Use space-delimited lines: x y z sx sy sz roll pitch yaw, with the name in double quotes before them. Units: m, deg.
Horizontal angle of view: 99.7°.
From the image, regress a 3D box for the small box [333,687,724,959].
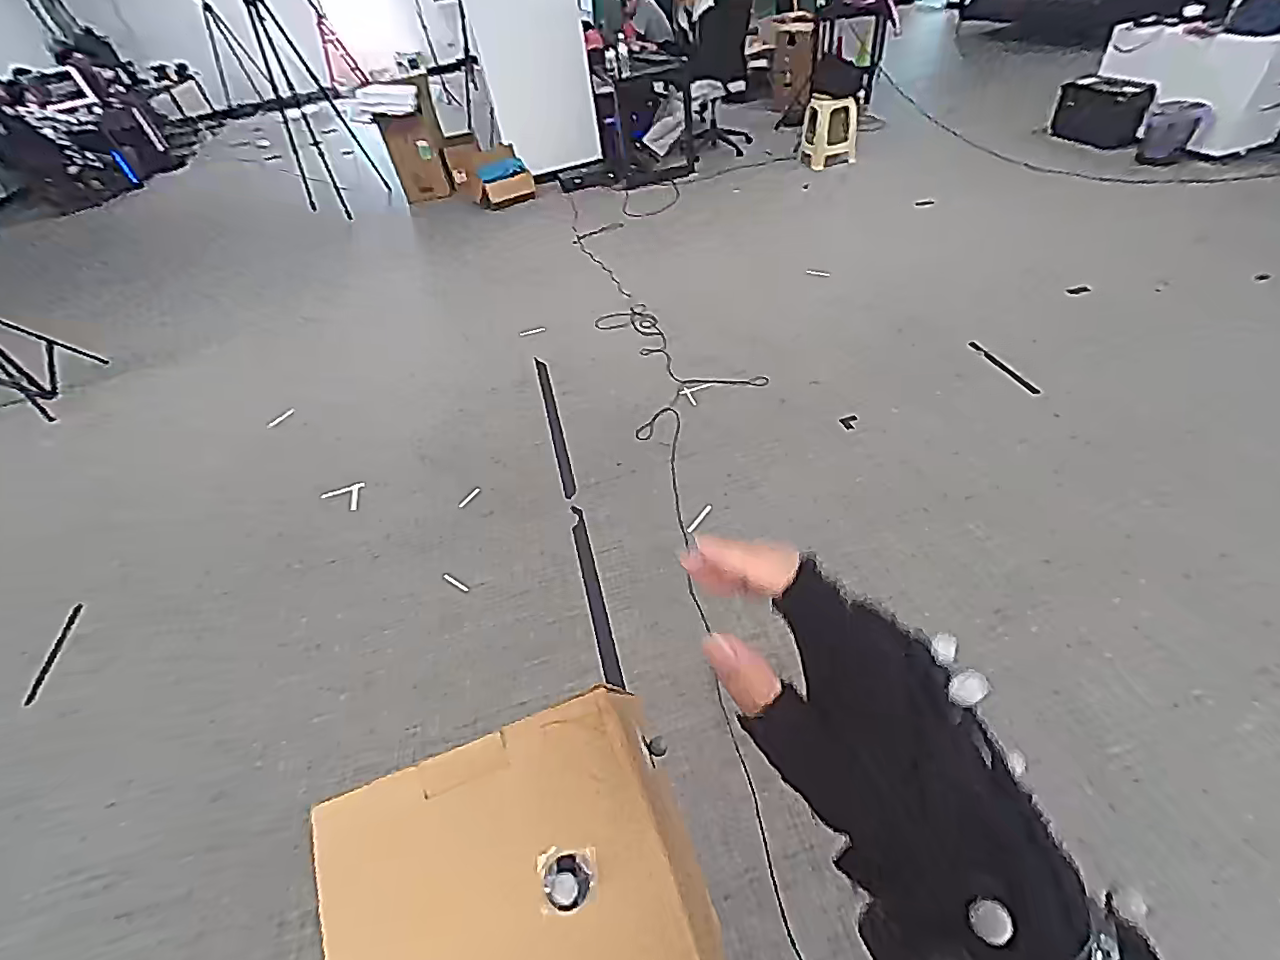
"small box" -0.053 0.248 0.341 0.168 0.179 0.176 -22 66 -3
